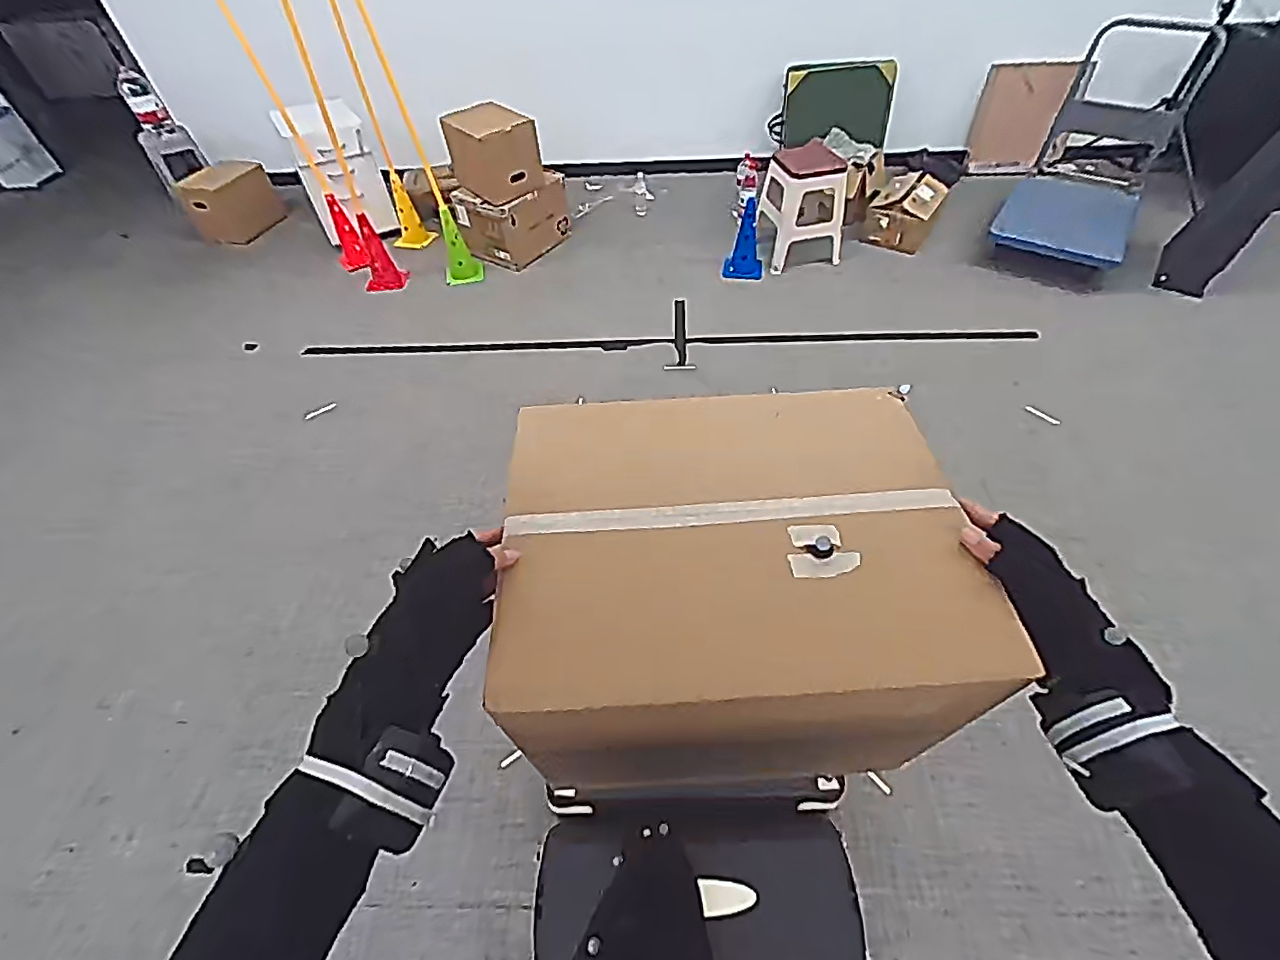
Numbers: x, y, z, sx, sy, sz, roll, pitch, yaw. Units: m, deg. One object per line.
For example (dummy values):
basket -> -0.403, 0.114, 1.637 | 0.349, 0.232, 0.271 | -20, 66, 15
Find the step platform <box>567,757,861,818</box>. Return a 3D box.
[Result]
step platform -> 0.162, 0.628, 1.309 | 0.684, 0.204, 0.286 | -2, 50, 0

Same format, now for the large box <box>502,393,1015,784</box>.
large box -> 0.084, 0.129, 0.615 | 0.408, 0.320, 0.320 | -4, 51, -1
